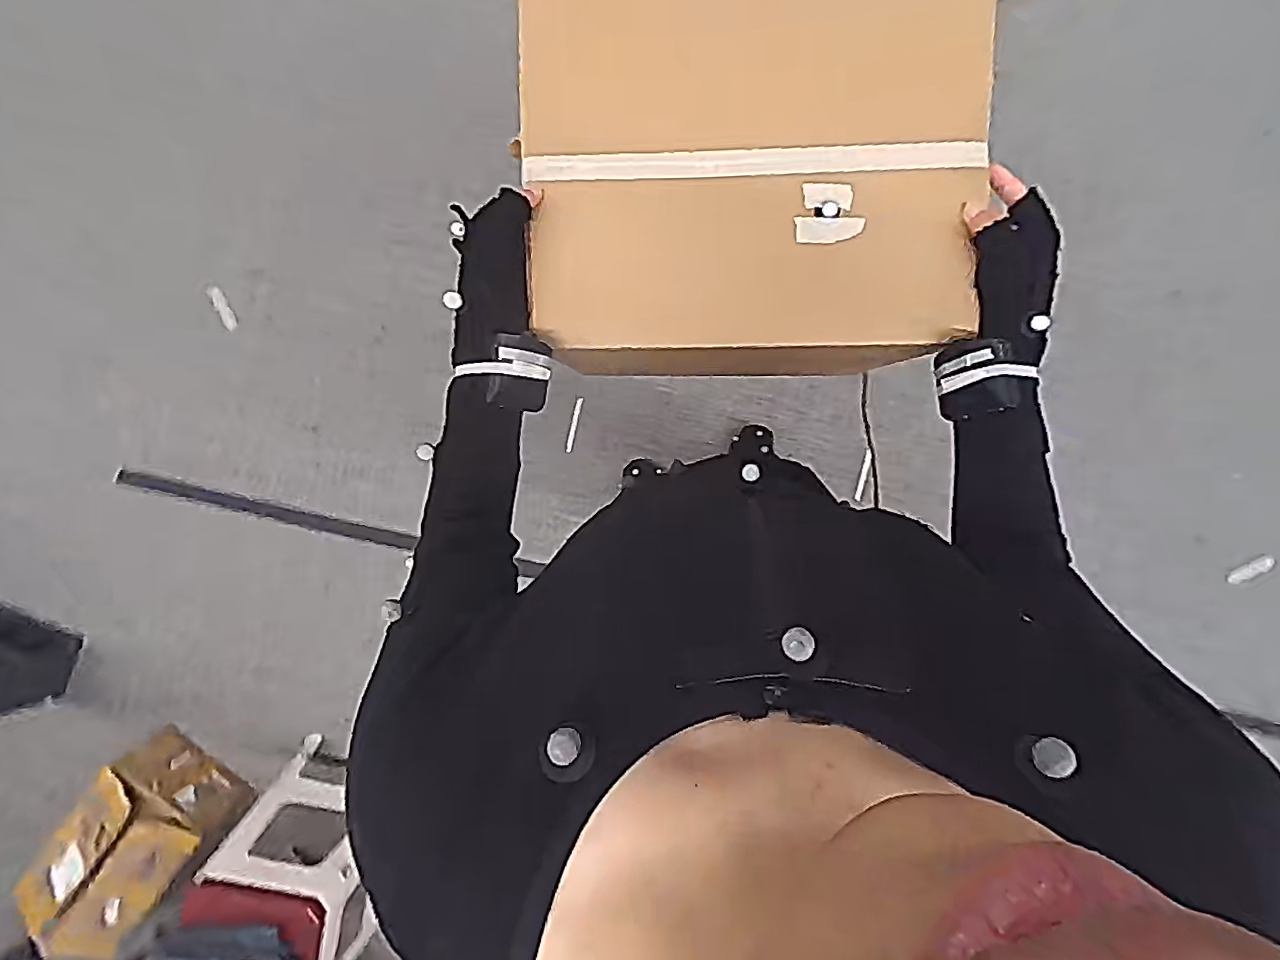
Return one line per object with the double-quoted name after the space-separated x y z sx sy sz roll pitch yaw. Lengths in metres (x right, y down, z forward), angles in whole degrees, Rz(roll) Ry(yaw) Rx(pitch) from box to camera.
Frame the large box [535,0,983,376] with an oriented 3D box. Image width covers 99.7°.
0.107 -0.297 0.642 0.408 0.320 0.320 1 97 2 "large box"
